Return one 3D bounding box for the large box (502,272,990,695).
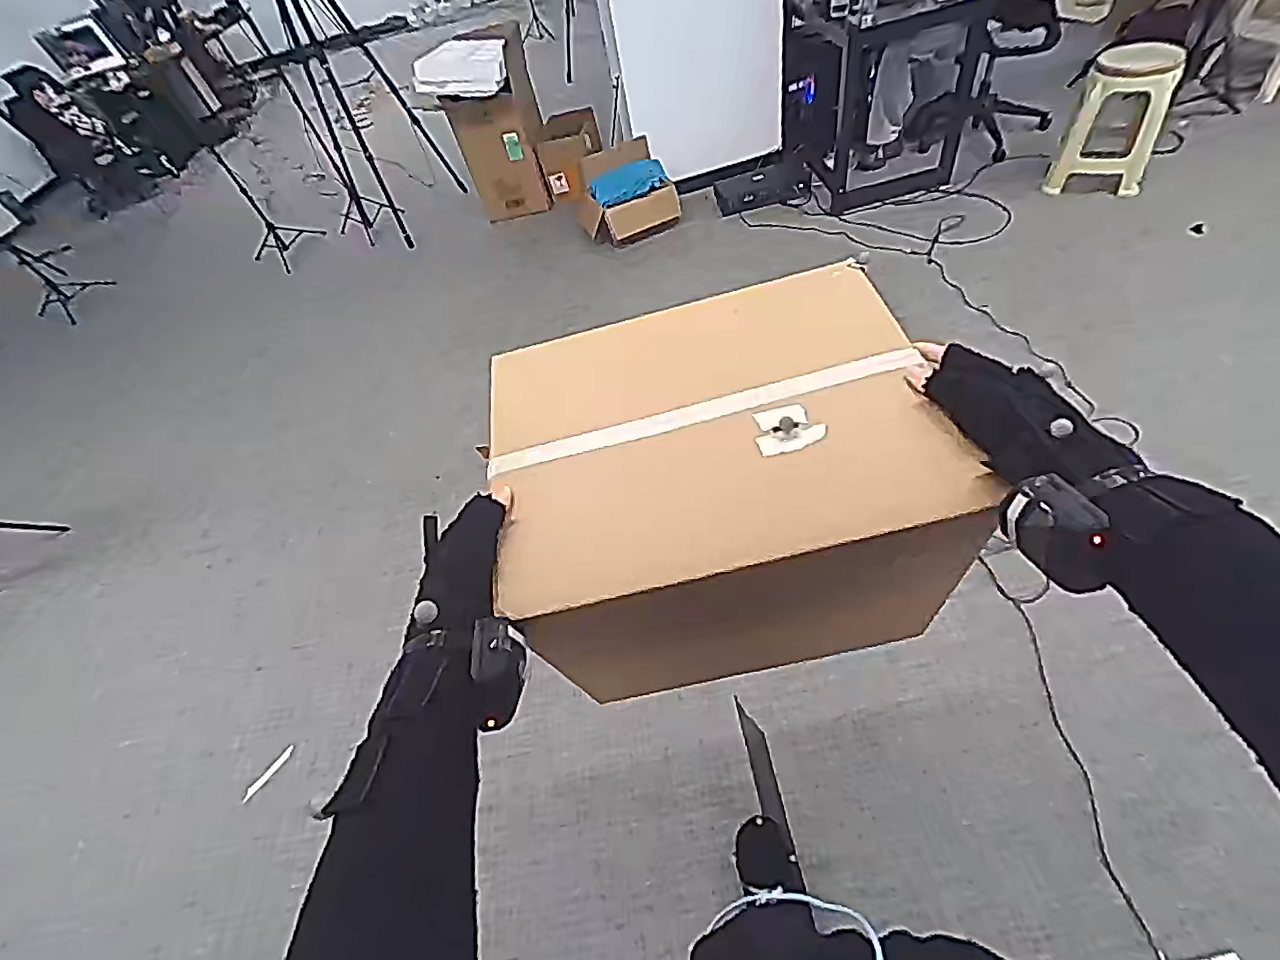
[{"bbox_3d":[0.086,0.023,0.638,0.408,0.320,0.320,-14,55,3],"label":"large box"}]
